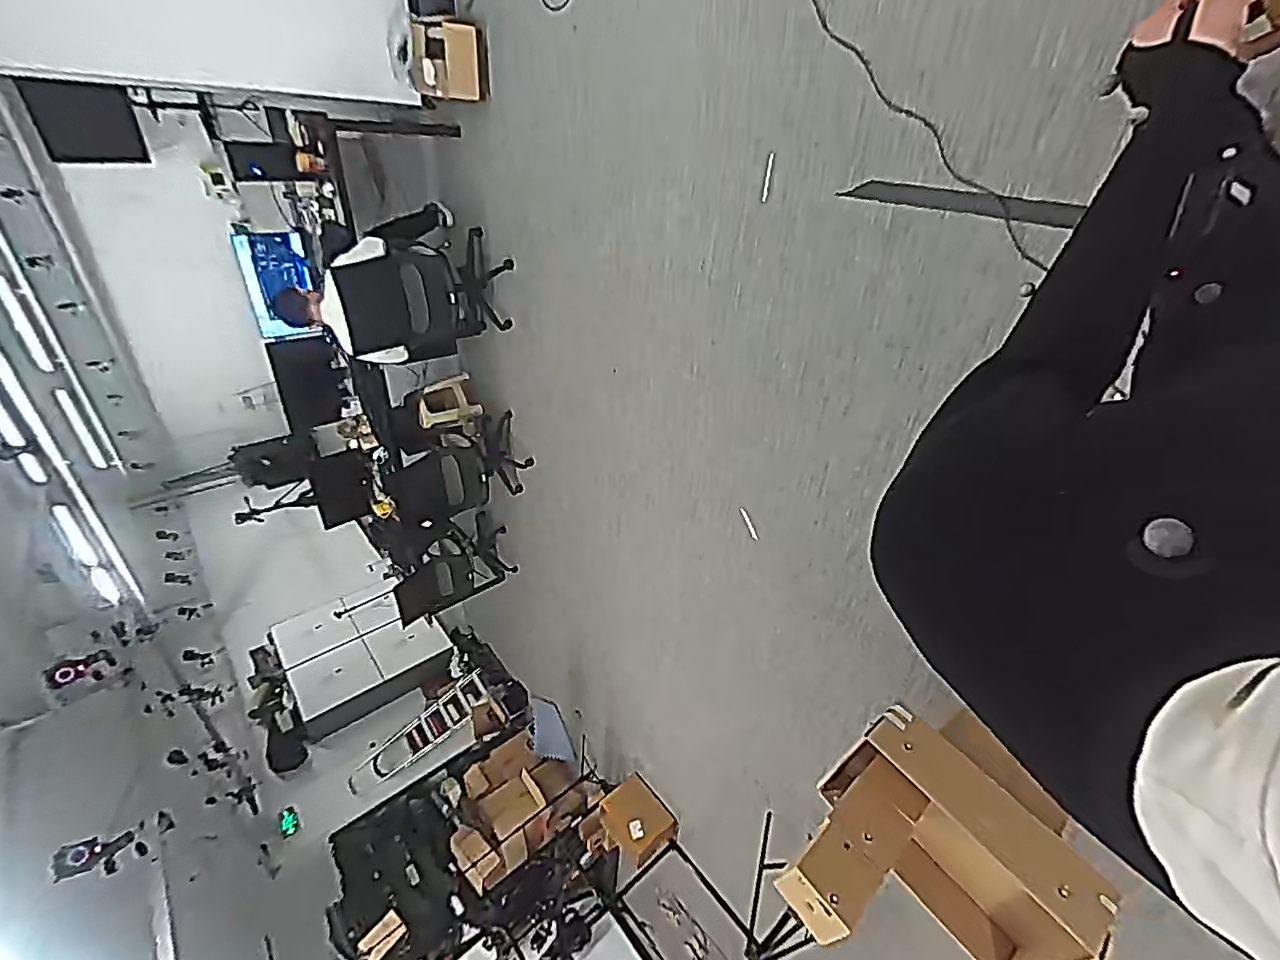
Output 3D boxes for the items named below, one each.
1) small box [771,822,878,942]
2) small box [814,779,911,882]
[{"bbox_3d":[0.471,1.022,1.380,0.168,0.176,0.179,43,140,29],"label":"small box"},{"bbox_3d":[0.597,0.966,1.470,0.179,0.176,0.168,39,137,34],"label":"small box"}]
